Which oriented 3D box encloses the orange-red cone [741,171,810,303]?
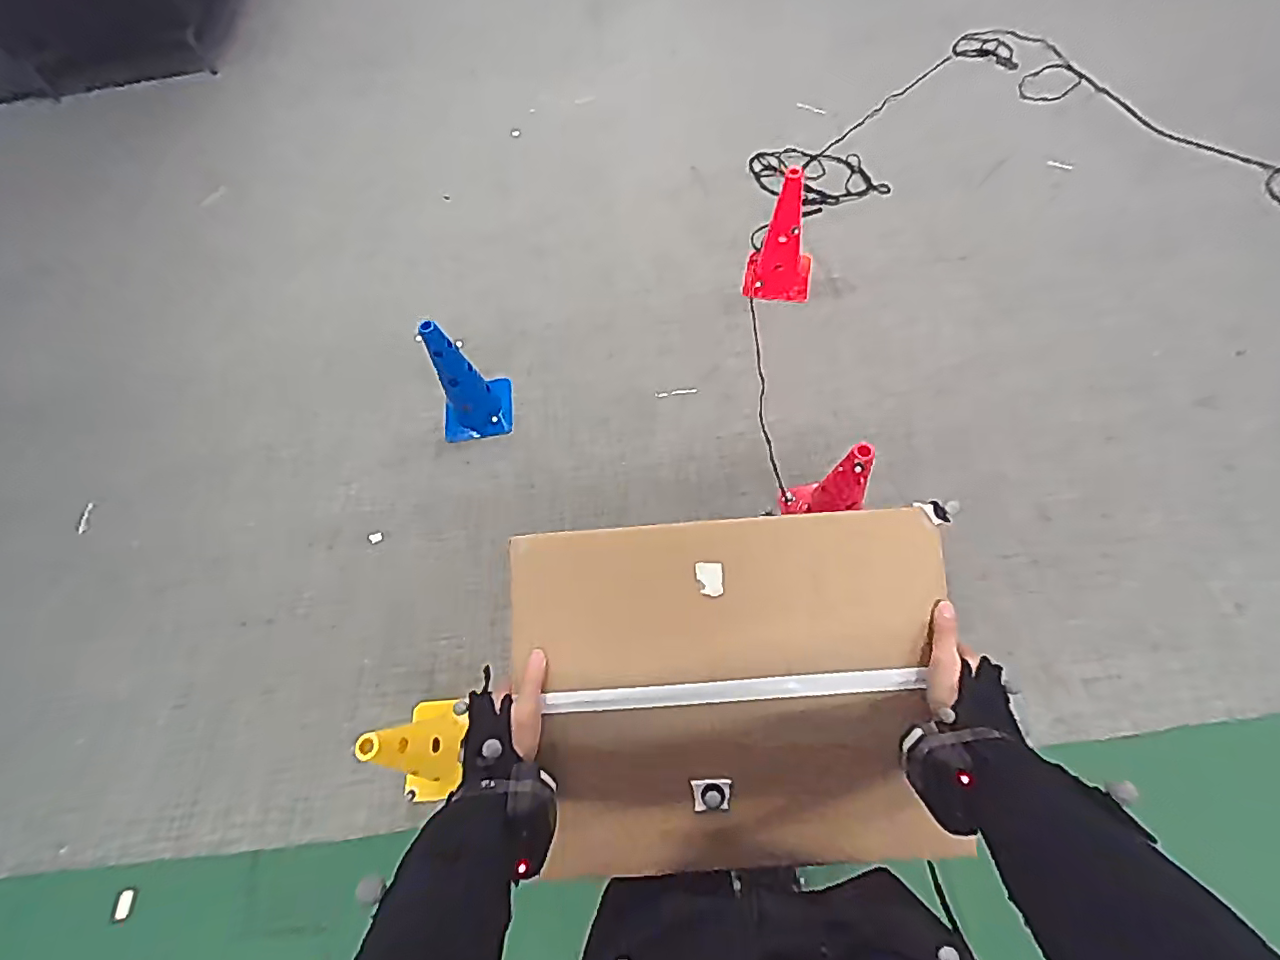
[{"bbox_3d":[0.416,-0.718,1.564,0.199,0.360,0.198,10,66,10],"label":"orange-red cone"}]

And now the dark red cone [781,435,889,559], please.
[{"bbox_3d":[0.447,0.013,1.160,0.202,0.394,0.201,-15,65,-1],"label":"dark red cone"}]

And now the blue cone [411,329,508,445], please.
[{"bbox_3d":[-0.505,-0.270,1.464,0.192,0.380,0.193,-8,62,3],"label":"blue cone"}]
